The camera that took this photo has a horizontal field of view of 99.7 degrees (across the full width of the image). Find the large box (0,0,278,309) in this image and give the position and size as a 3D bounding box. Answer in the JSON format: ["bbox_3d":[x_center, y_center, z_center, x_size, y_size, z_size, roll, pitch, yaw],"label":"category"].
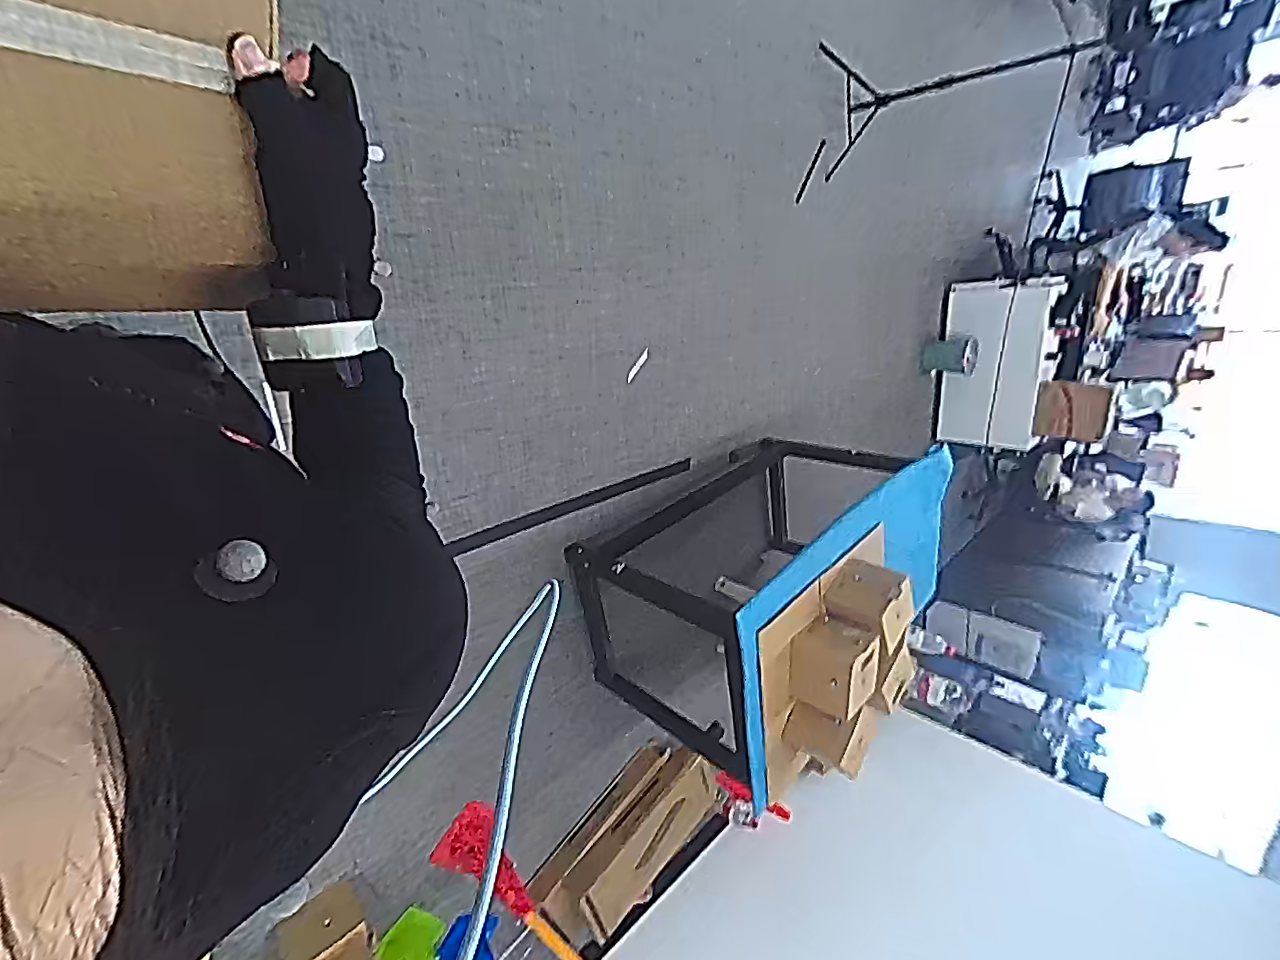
[{"bbox_3d":[-0.452,-0.299,0.251,0.408,0.320,0.320,-18,149,-42],"label":"large box"}]
